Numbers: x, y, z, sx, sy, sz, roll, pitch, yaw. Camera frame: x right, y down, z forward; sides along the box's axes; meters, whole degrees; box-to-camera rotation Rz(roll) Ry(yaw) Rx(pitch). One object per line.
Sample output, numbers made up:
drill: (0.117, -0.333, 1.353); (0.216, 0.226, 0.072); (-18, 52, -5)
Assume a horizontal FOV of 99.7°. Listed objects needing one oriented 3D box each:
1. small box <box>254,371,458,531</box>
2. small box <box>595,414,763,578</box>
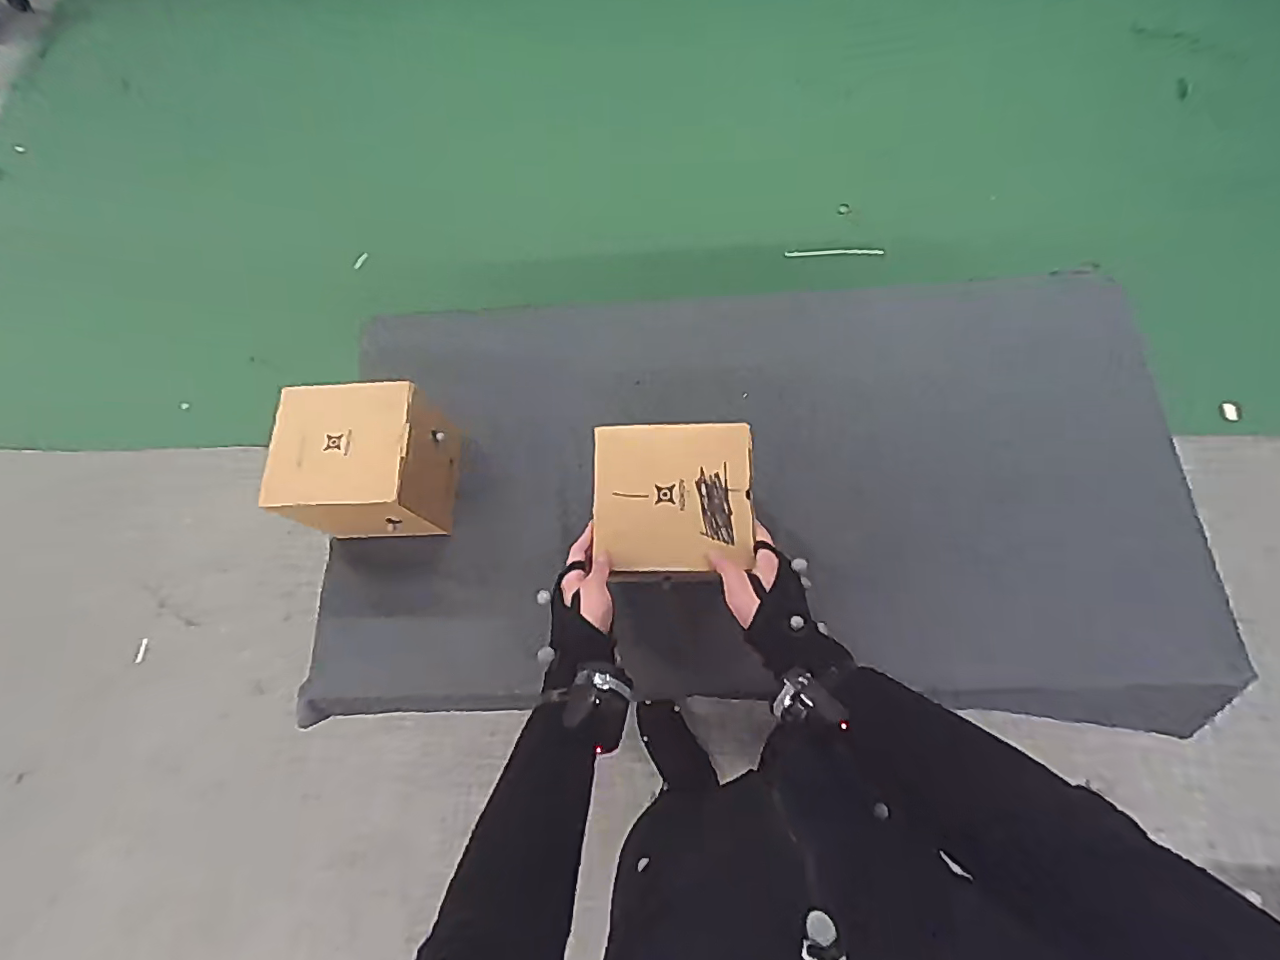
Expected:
small box: (-0.362, -0.031, 0.729); (0.179, 0.176, 0.168); (-2, 70, 3)
small box: (0.045, 0.028, 0.656); (0.179, 0.176, 0.168); (1, 75, 3)
